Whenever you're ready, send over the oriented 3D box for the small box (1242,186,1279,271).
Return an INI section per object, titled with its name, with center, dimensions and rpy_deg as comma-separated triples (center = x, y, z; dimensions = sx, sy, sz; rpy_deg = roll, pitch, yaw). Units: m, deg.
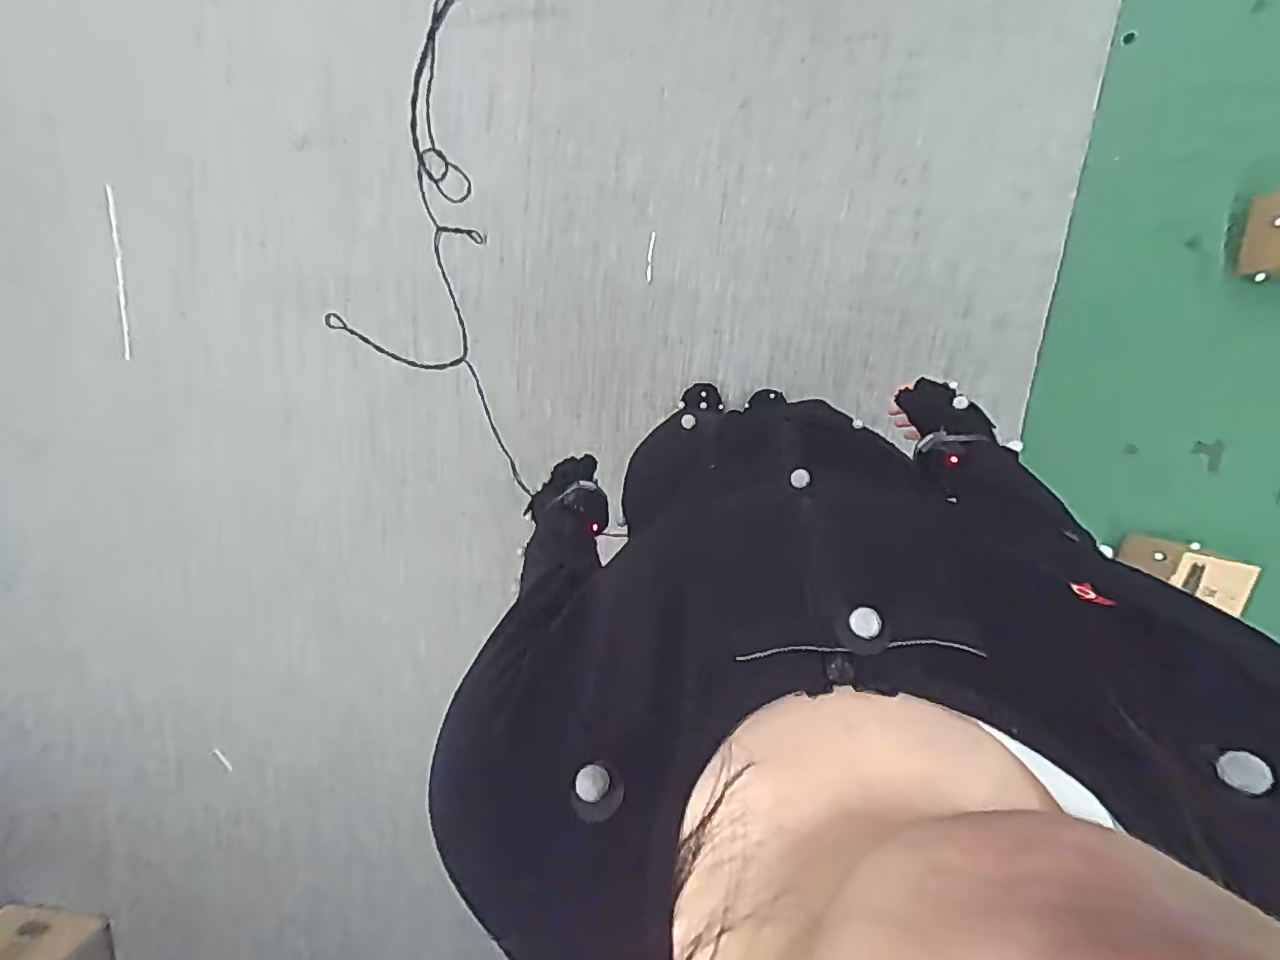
[small box]
center = 1.477, -0.551, 1.165
dimensions = 0.168, 0.176, 0.179
rpy_deg = 3, 100, 5
